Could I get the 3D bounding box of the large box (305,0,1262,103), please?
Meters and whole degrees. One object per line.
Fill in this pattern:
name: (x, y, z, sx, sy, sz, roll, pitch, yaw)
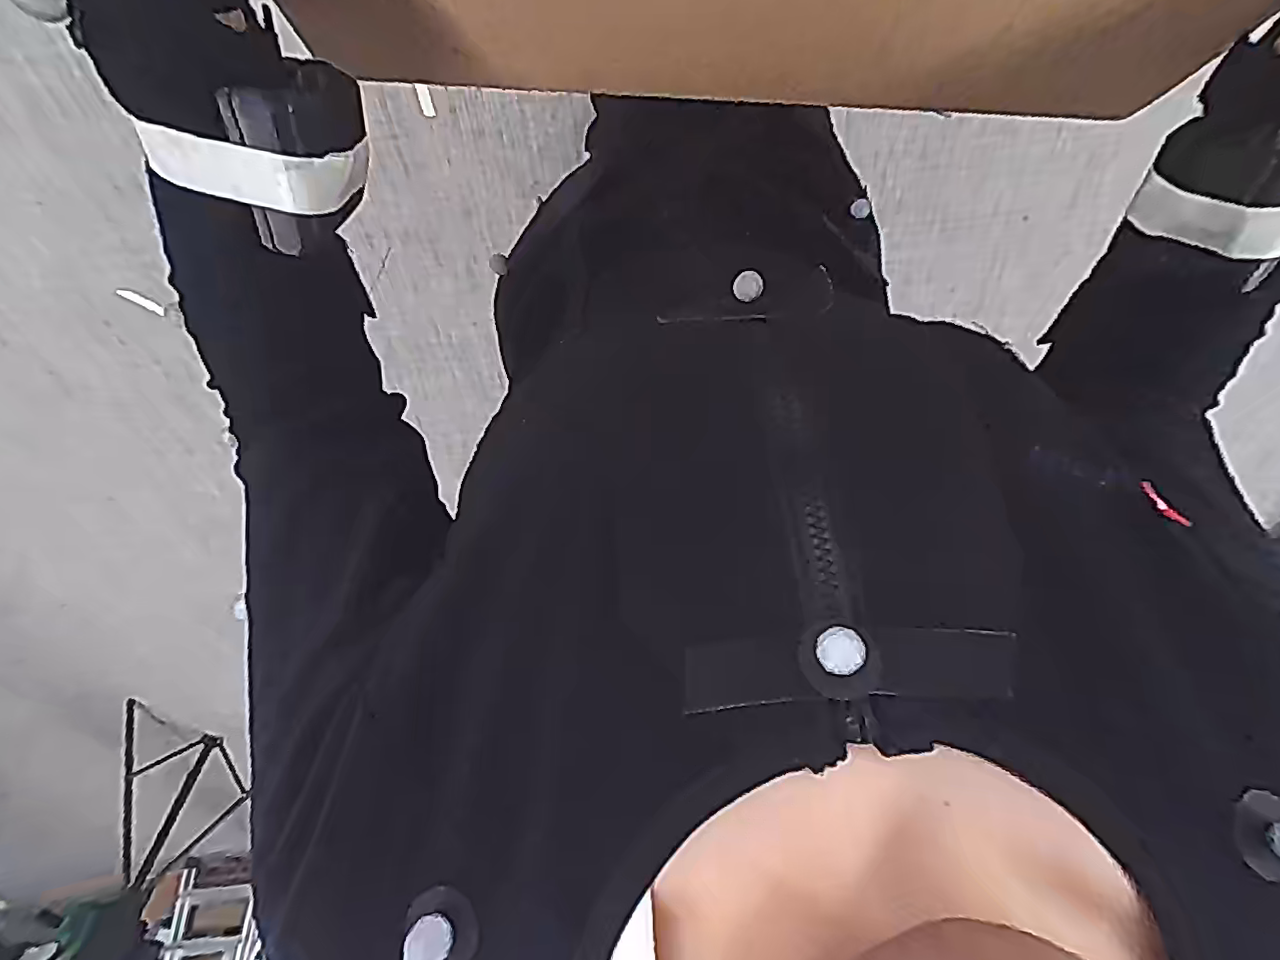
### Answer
large box: (0.059, -0.354, 0.128, 0.408, 0.320, 0.320, 2, 90, -2)
